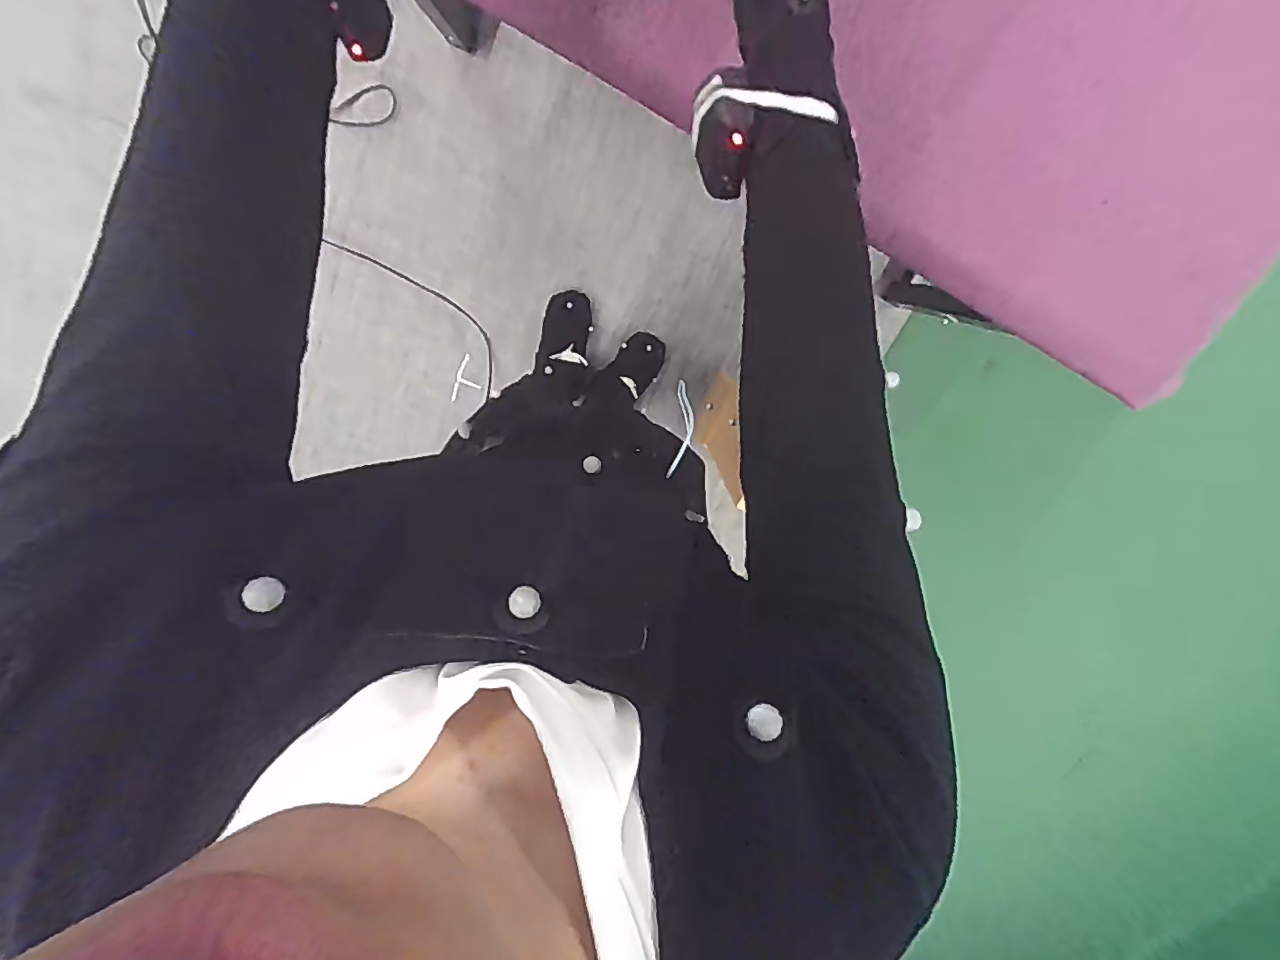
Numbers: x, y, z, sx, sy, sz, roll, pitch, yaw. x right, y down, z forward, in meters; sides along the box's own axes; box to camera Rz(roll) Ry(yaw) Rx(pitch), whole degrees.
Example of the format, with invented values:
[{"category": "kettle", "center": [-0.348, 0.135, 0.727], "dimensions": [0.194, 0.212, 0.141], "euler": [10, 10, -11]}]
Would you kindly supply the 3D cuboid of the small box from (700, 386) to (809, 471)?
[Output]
[{"category": "small box", "center": [0.255, -0.093, 1.264], "dimensions": [0.168, 0.176, 0.179], "euler": [27, 108, -16]}]
